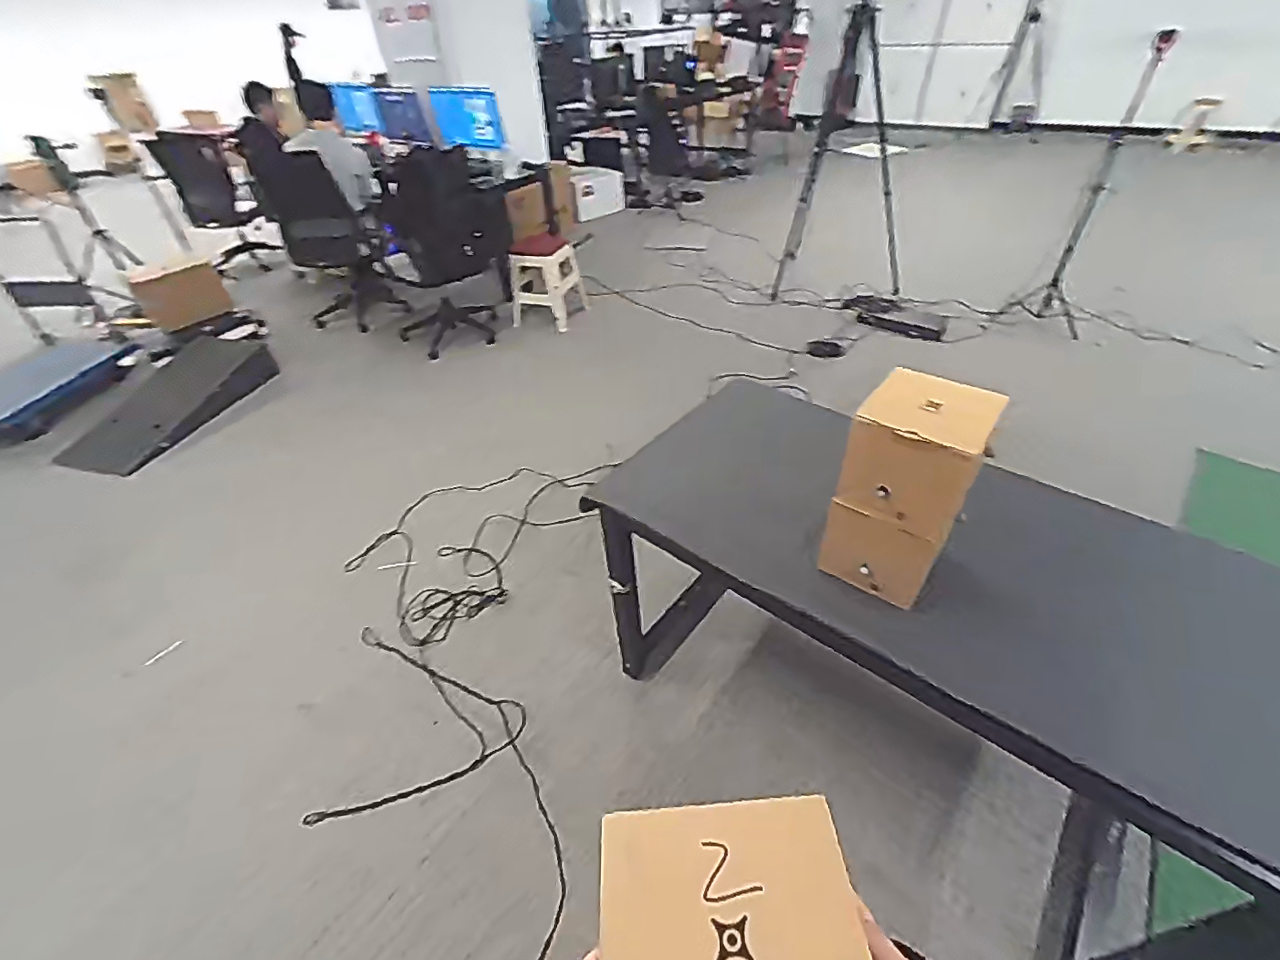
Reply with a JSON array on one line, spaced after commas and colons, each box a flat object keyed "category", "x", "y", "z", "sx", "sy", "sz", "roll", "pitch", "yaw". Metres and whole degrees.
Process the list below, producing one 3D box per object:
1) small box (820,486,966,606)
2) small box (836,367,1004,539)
[{"category": "small box", "x": 0.428, "y": 0.079, "z": 0.934, "sx": 0.168, "sy": 0.176, "sz": 0.179, "roll": 25, "pitch": 48, "yaw": 31}, {"category": "small box", "x": 0.420, "y": -0.045, "z": 0.830, "sx": 0.168, "sy": 0.176, "sz": 0.179, "roll": 26, "pitch": 48, "yaw": 30}]
